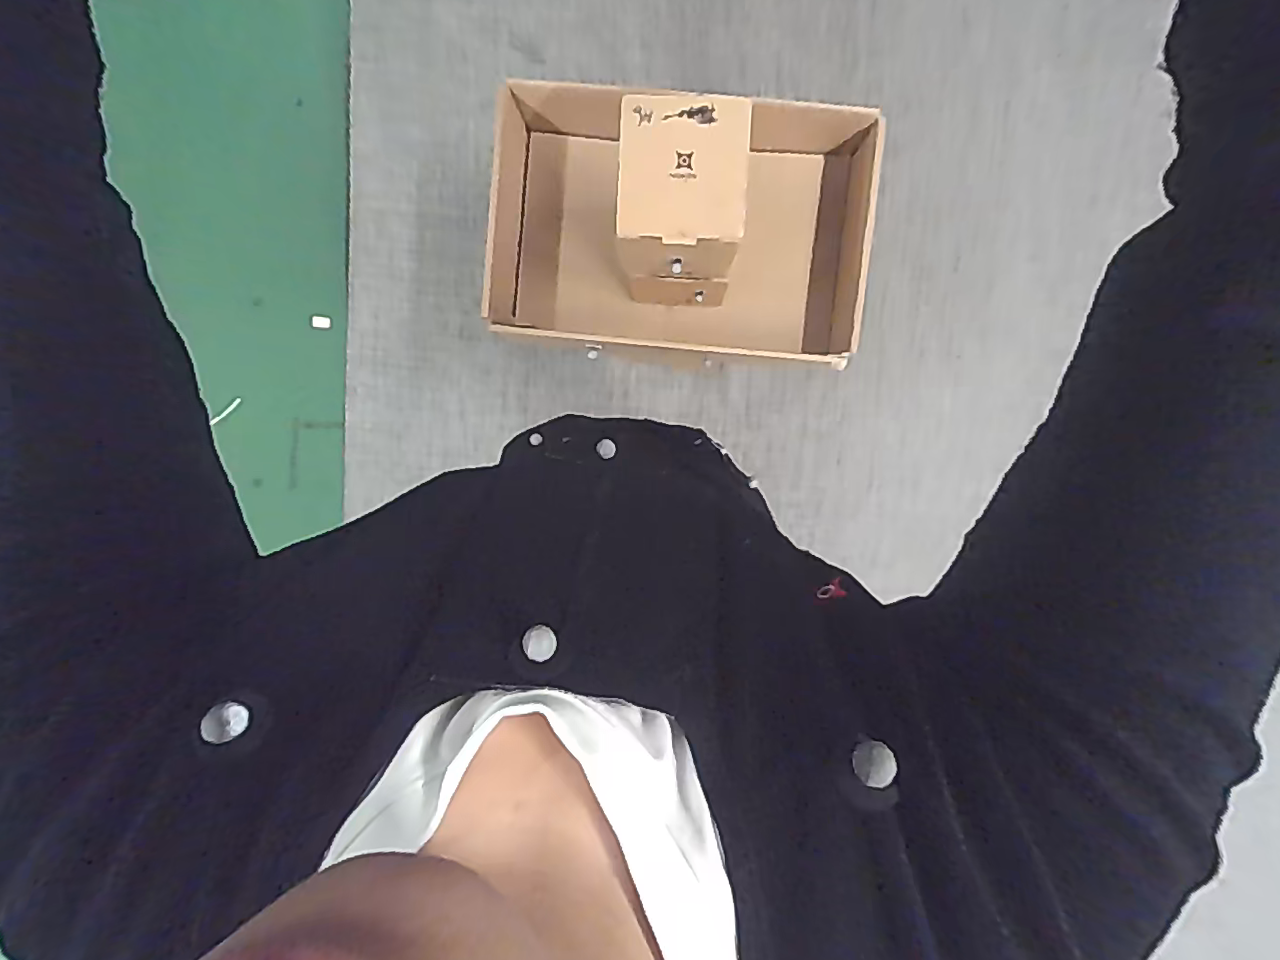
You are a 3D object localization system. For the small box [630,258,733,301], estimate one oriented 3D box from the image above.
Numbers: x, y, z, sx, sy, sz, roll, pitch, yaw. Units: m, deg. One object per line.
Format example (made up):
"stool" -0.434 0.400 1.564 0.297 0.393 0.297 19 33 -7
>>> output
"small box" 0.074 -0.416 0.928 0.168 0.176 0.179 4 93 2

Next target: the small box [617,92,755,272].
"small box" 0.061 -0.405 0.765 0.168 0.176 0.179 4 96 1
